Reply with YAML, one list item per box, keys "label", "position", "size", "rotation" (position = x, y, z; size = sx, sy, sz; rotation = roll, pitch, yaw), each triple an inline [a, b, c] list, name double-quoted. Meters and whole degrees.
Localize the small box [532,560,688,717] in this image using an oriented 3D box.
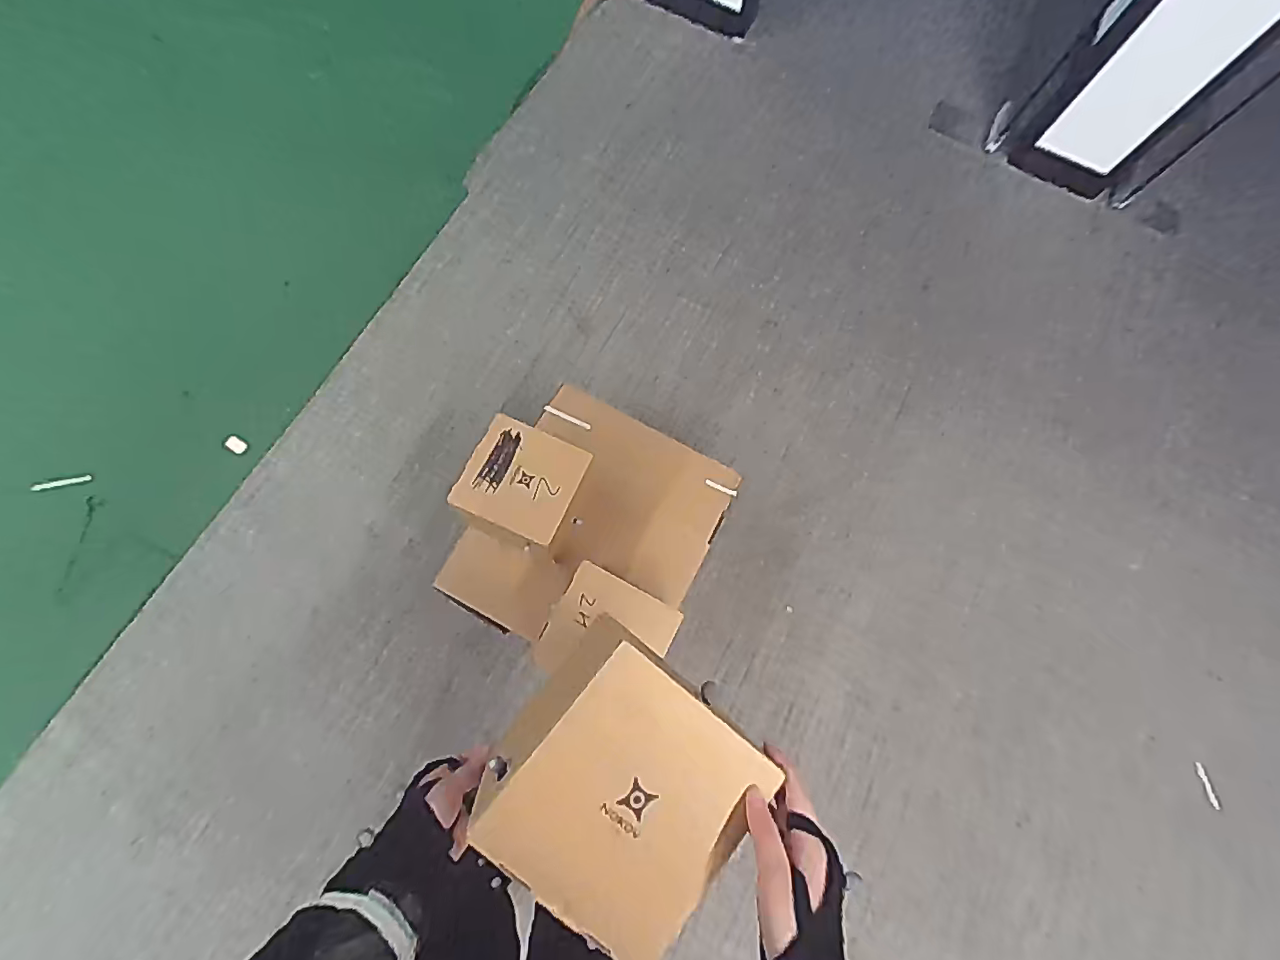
- label: "small box"
  position: [-0.047, 0.245, 0.859]
  size: [0.179, 0.176, 0.168]
  rotation: [28, 74, 4]
